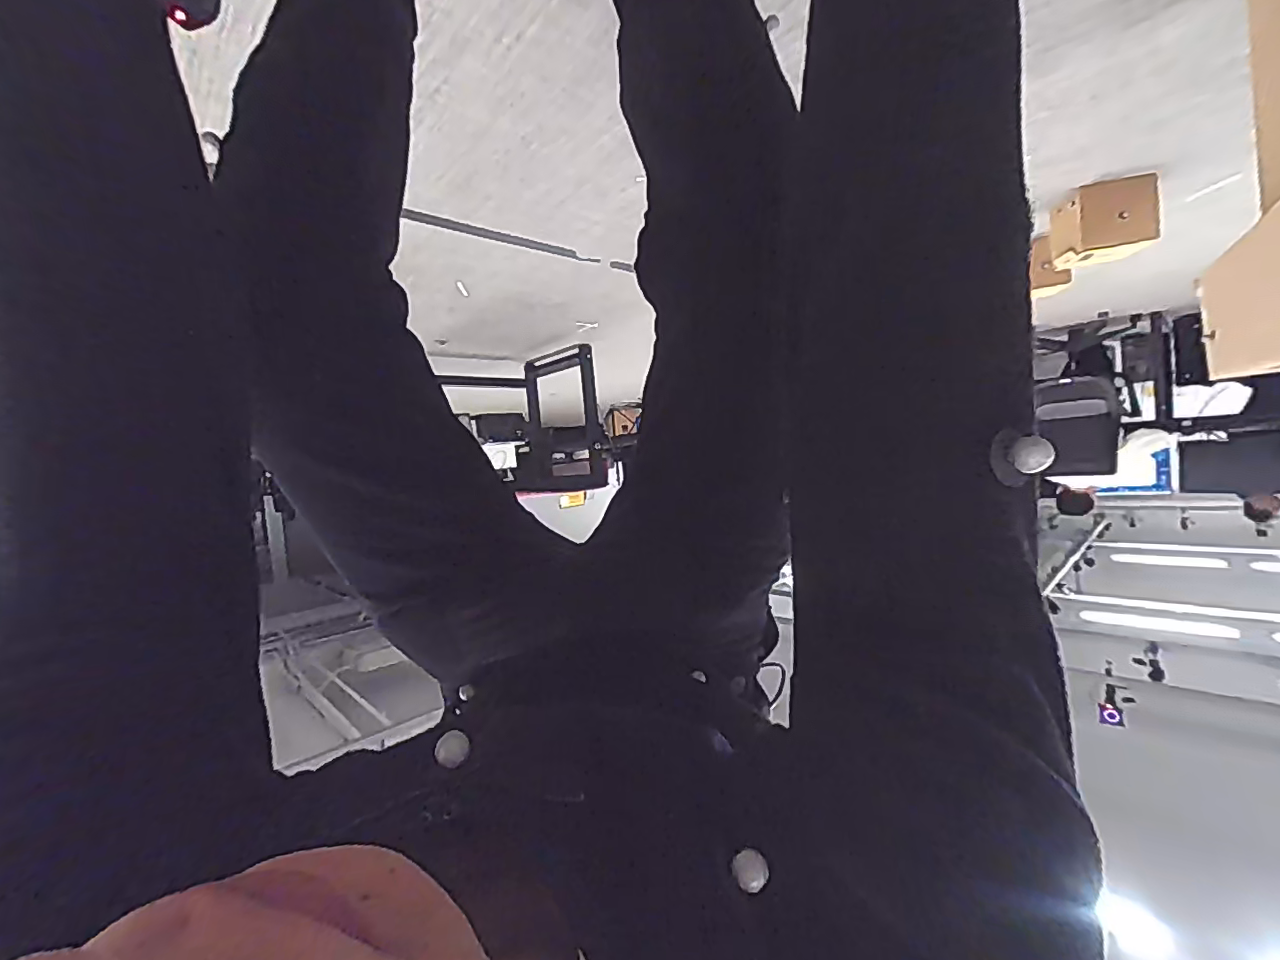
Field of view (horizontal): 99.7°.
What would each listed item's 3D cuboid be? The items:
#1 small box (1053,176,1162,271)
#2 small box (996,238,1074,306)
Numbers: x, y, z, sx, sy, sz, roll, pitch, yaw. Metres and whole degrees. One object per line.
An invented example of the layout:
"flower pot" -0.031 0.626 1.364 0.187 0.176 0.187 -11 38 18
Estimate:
"small box" 1.263 -0.694 1.474 0.179 0.176 0.168 -5 -178 15
"small box" 1.351 -0.716 1.860 0.179 0.176 0.168 -6 -179 22
